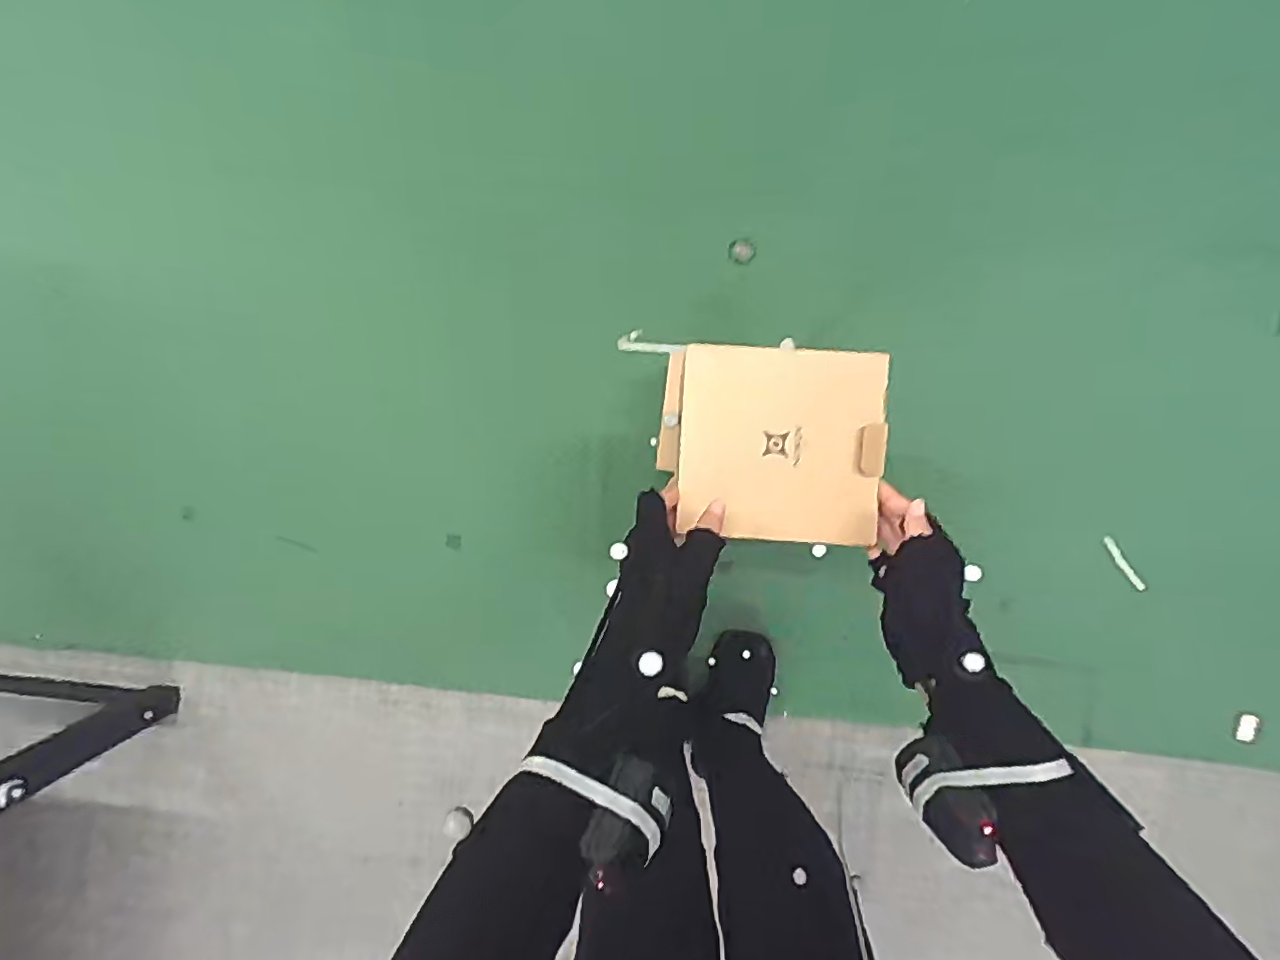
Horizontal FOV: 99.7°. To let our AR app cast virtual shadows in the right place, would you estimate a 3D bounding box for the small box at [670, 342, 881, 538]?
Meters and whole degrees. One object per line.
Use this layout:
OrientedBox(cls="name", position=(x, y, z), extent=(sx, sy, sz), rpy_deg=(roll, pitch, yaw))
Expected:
OrientedBox(cls="small box", position=(0.121, -0.036, 0.549), extent=(0.179, 0.176, 0.168), rpy_deg=(3, 91, 2))
